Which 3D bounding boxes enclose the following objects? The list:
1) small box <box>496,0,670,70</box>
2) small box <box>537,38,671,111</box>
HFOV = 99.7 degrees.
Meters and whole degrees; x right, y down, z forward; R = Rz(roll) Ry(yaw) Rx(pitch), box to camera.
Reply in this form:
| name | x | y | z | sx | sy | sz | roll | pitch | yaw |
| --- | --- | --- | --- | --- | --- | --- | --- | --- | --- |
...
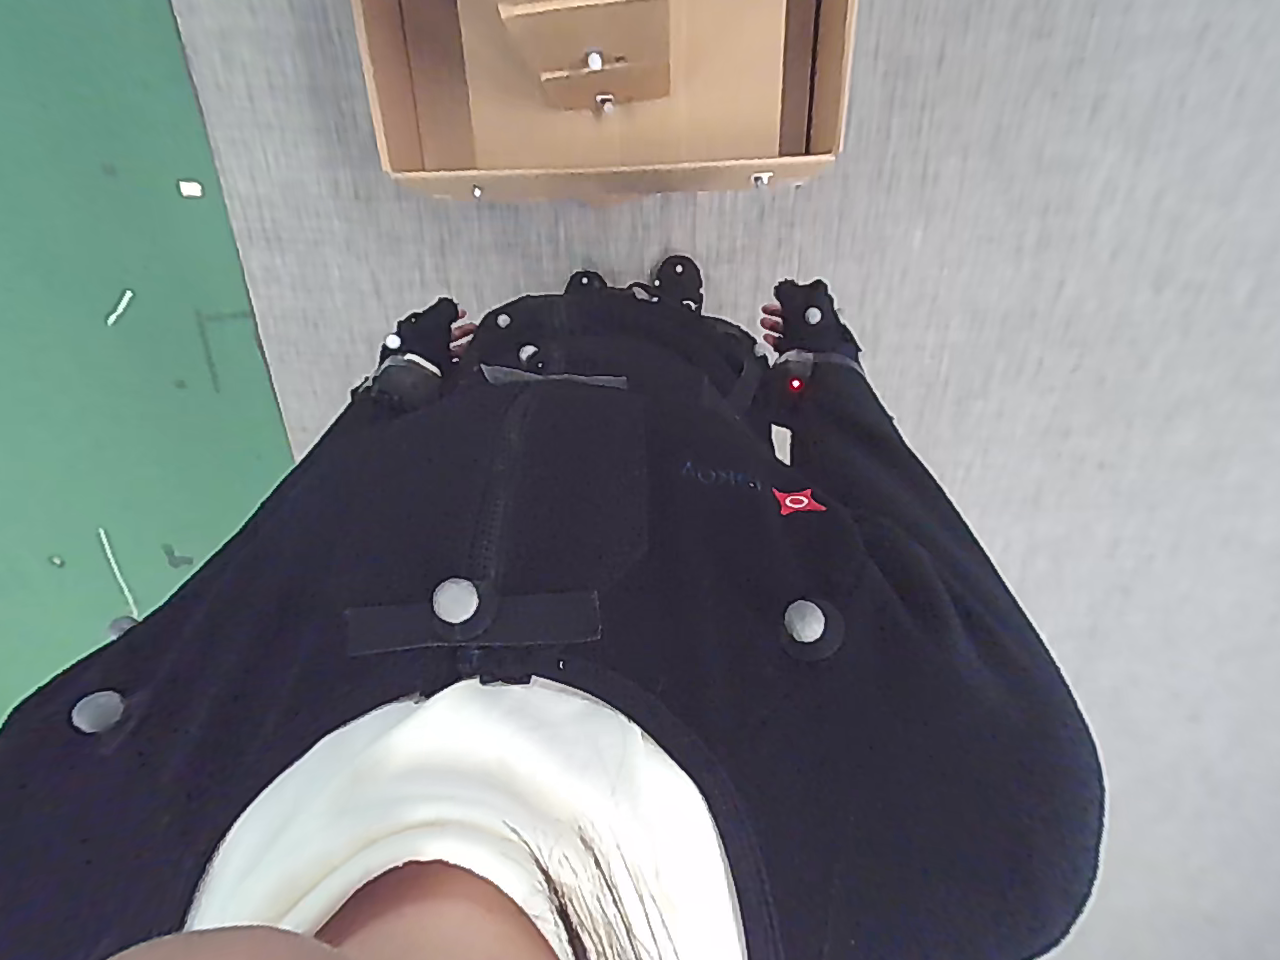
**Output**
| name | x | y | z | sx | sy | sz | roll | pitch | yaw |
| --- | --- | --- | --- | --- | --- | --- | --- | --- | --- |
| small box | -0.055 | -0.556 | 0.551 | 0.168 | 0.176 | 0.179 | -2 | 112 | 5 |
| small box | -0.049 | -0.614 | 0.704 | 0.168 | 0.176 | 0.179 | -5 | 112 | 5 |
